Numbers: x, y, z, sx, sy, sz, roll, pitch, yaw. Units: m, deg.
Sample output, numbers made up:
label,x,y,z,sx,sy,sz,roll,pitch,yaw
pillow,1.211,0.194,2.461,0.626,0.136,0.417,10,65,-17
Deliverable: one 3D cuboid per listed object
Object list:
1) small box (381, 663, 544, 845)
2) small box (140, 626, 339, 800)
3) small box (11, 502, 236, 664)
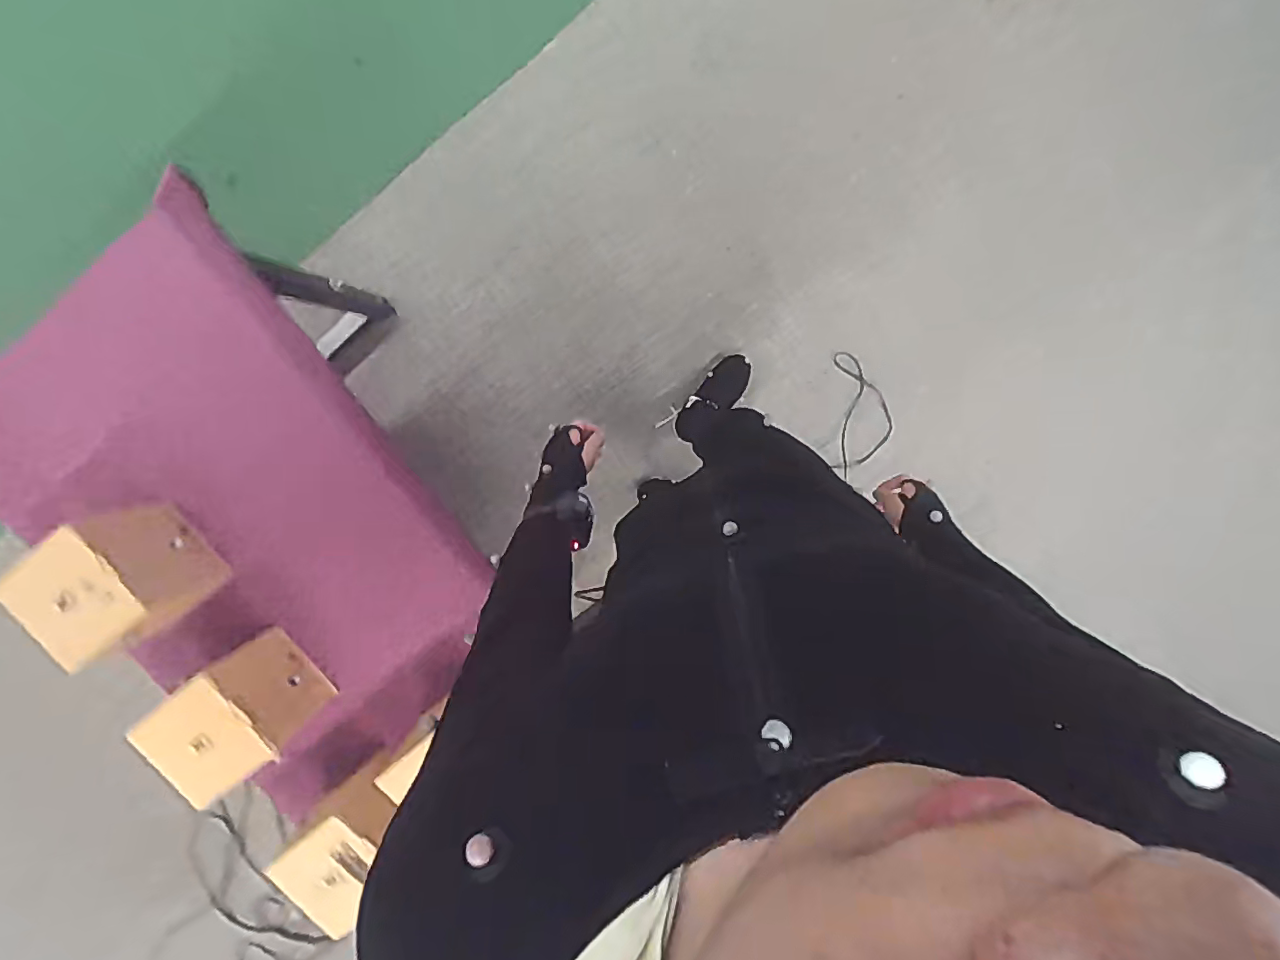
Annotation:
label,x,y,z,sx,sy,sz,roll,pitch,yaw
small box,-0.280,0.445,0.905,0.179,0.176,0.168,-40,95,11
small box,-0.665,0.386,0.922,0.179,0.176,0.168,-38,95,7
small box,-0.831,0.160,0.891,0.179,0.176,0.168,-36,96,8
